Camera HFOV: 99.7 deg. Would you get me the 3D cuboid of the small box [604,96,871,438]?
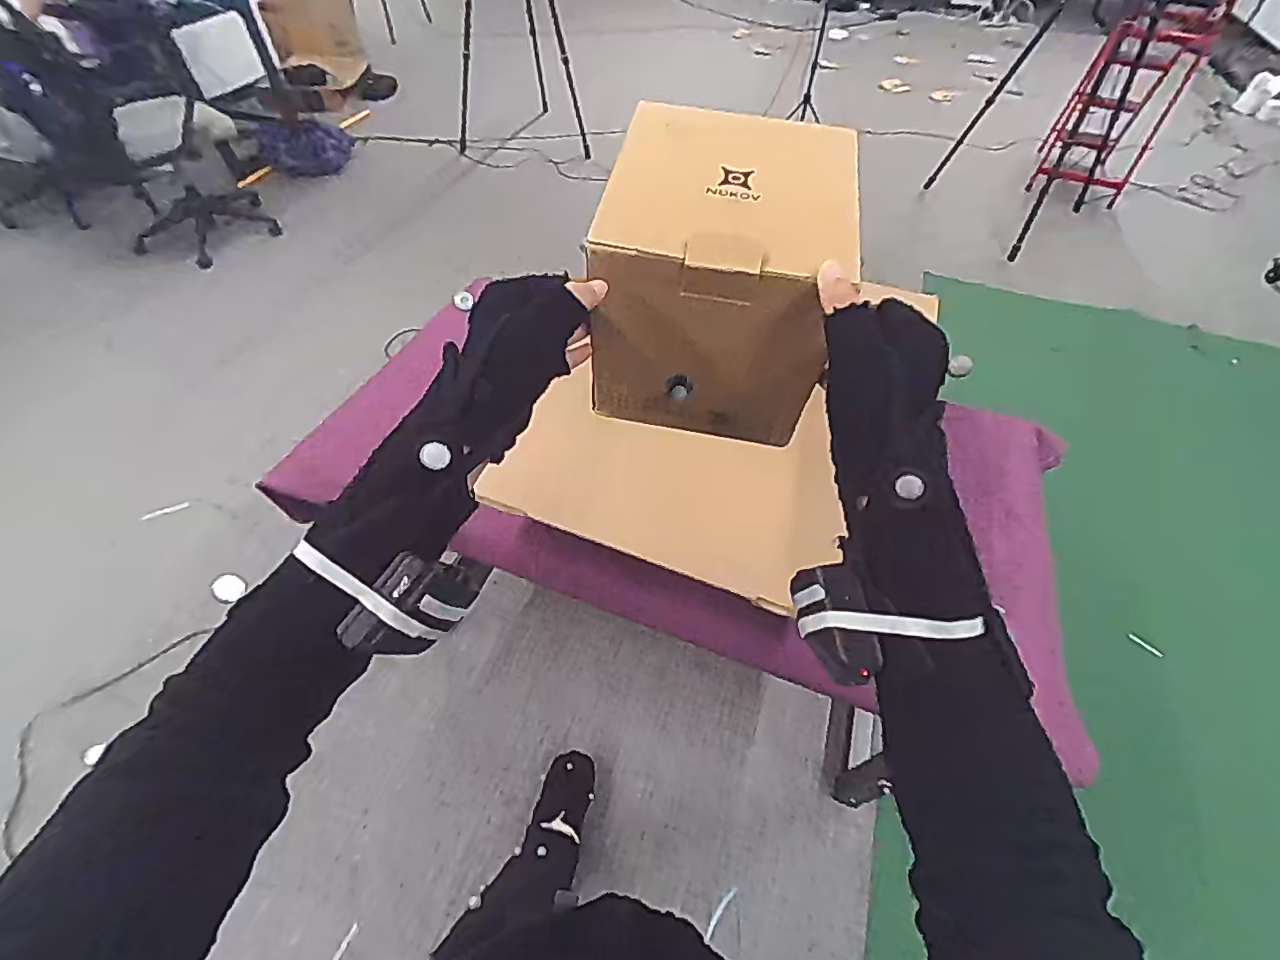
[{"bbox_3d":[0.067,-0.161,0.432,0.168,0.176,0.179,11,61,3],"label":"small box"}]
